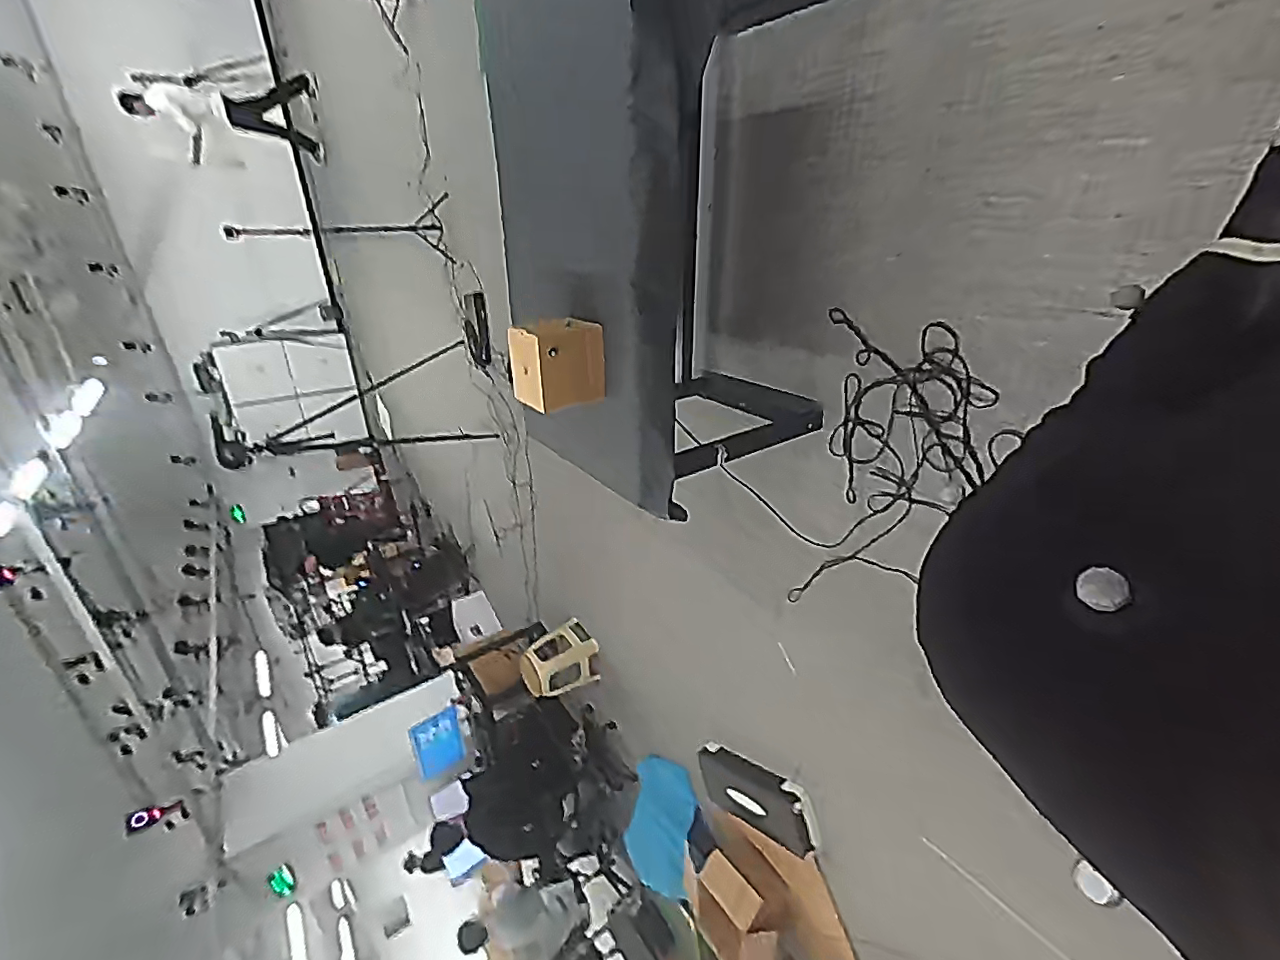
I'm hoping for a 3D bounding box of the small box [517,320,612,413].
[{"bbox_3d":[-0.176,-0.275,1.286,0.168,0.176,0.179,31,129,49],"label":"small box"}]
